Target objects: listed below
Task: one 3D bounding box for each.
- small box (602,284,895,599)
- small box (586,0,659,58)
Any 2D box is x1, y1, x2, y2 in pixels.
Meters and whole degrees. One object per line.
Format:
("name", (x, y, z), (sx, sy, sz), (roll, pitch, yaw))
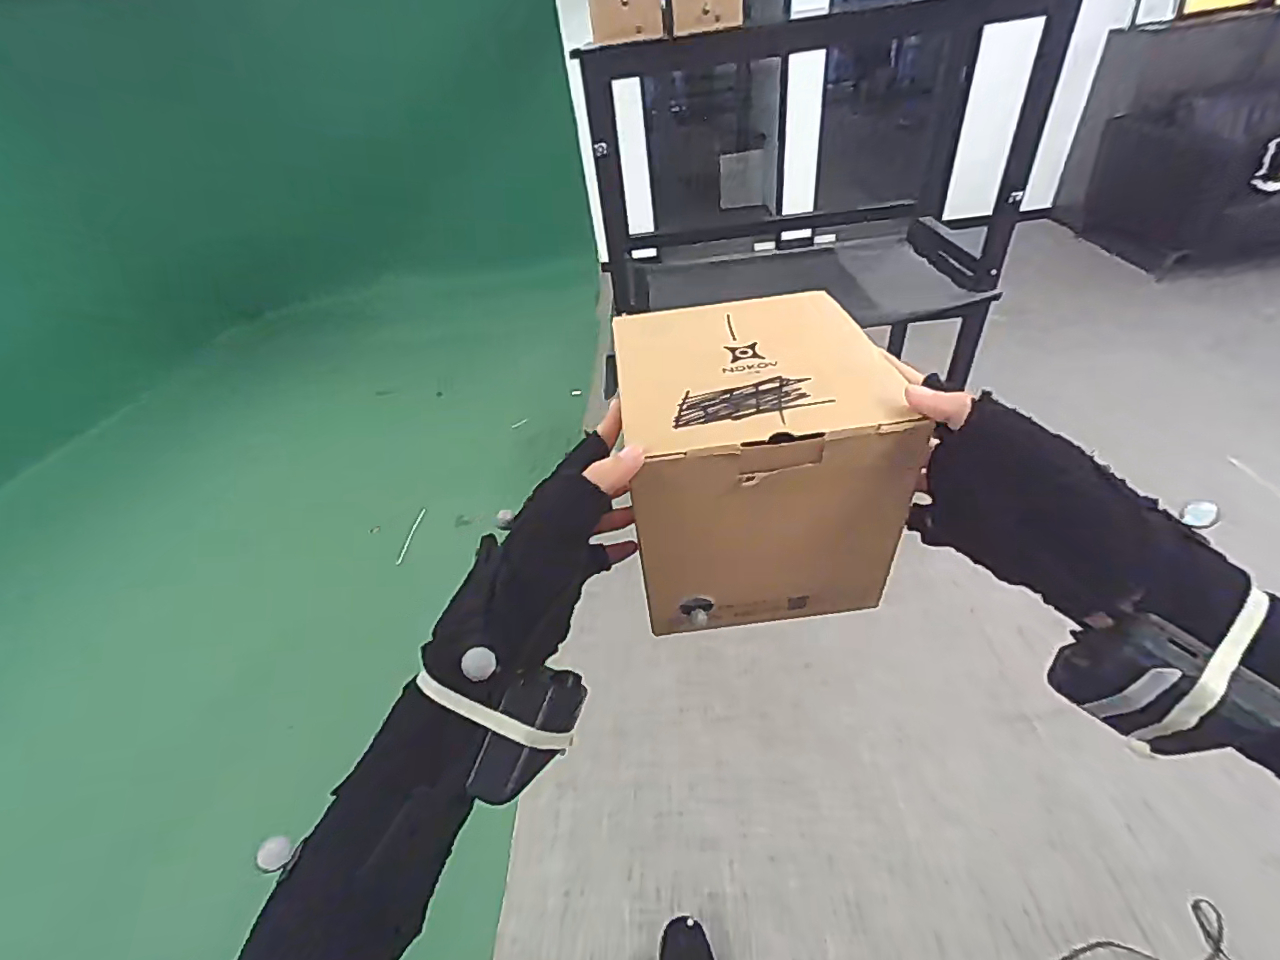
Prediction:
("small box", (0.065, -0.025, 0.410), (0.168, 0.176, 0.179), (-7, 40, 1))
("small box", (-0.048, -1.186, 1.367), (0.168, 0.176, 0.179), (-9, 39, -2))
